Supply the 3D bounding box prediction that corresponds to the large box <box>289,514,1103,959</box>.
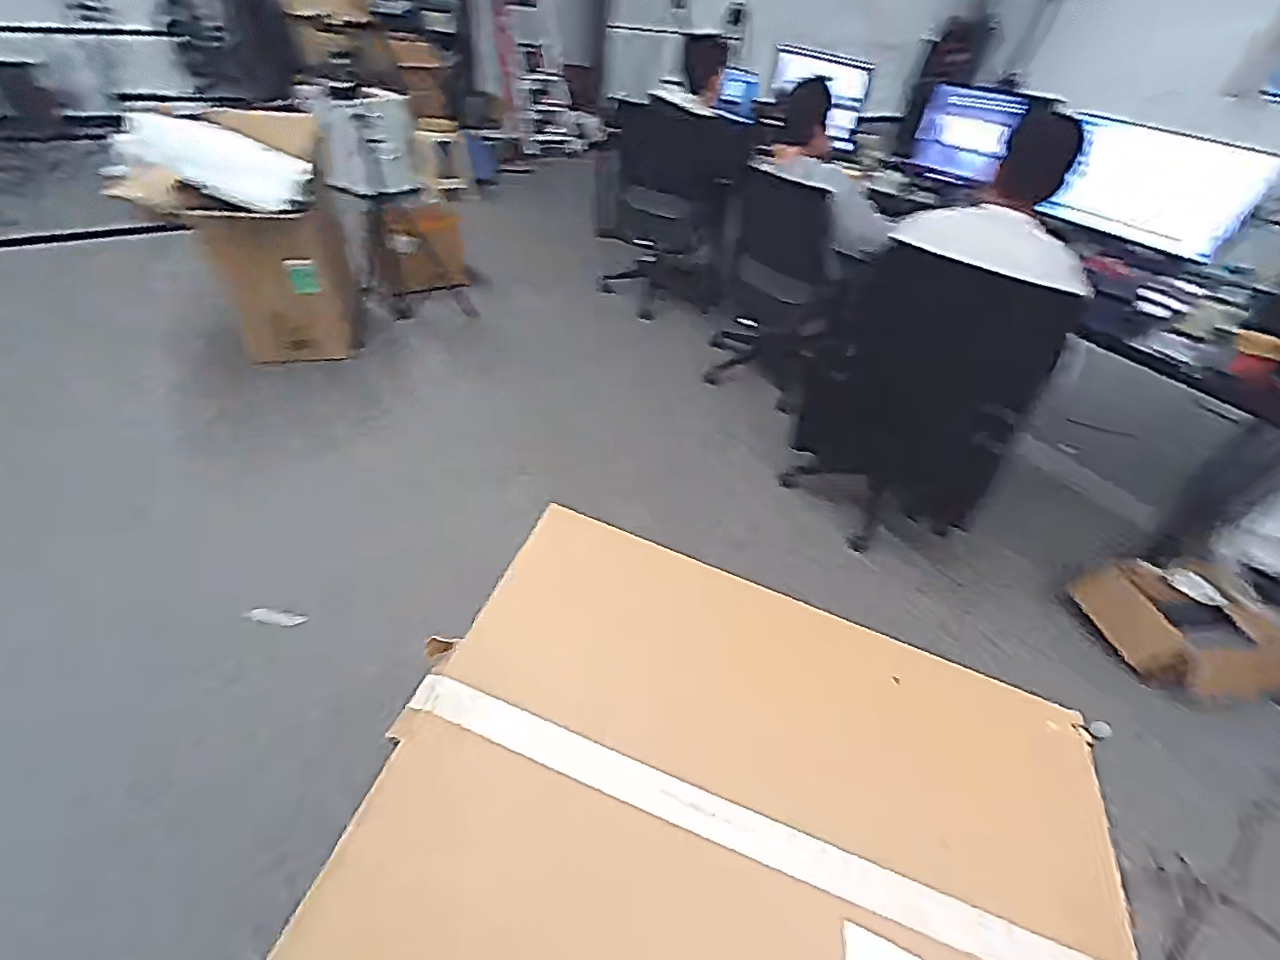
[{"bbox_3d":[0.036,0.291,0.417,0.408,0.320,0.320,21,49,4],"label":"large box"}]
